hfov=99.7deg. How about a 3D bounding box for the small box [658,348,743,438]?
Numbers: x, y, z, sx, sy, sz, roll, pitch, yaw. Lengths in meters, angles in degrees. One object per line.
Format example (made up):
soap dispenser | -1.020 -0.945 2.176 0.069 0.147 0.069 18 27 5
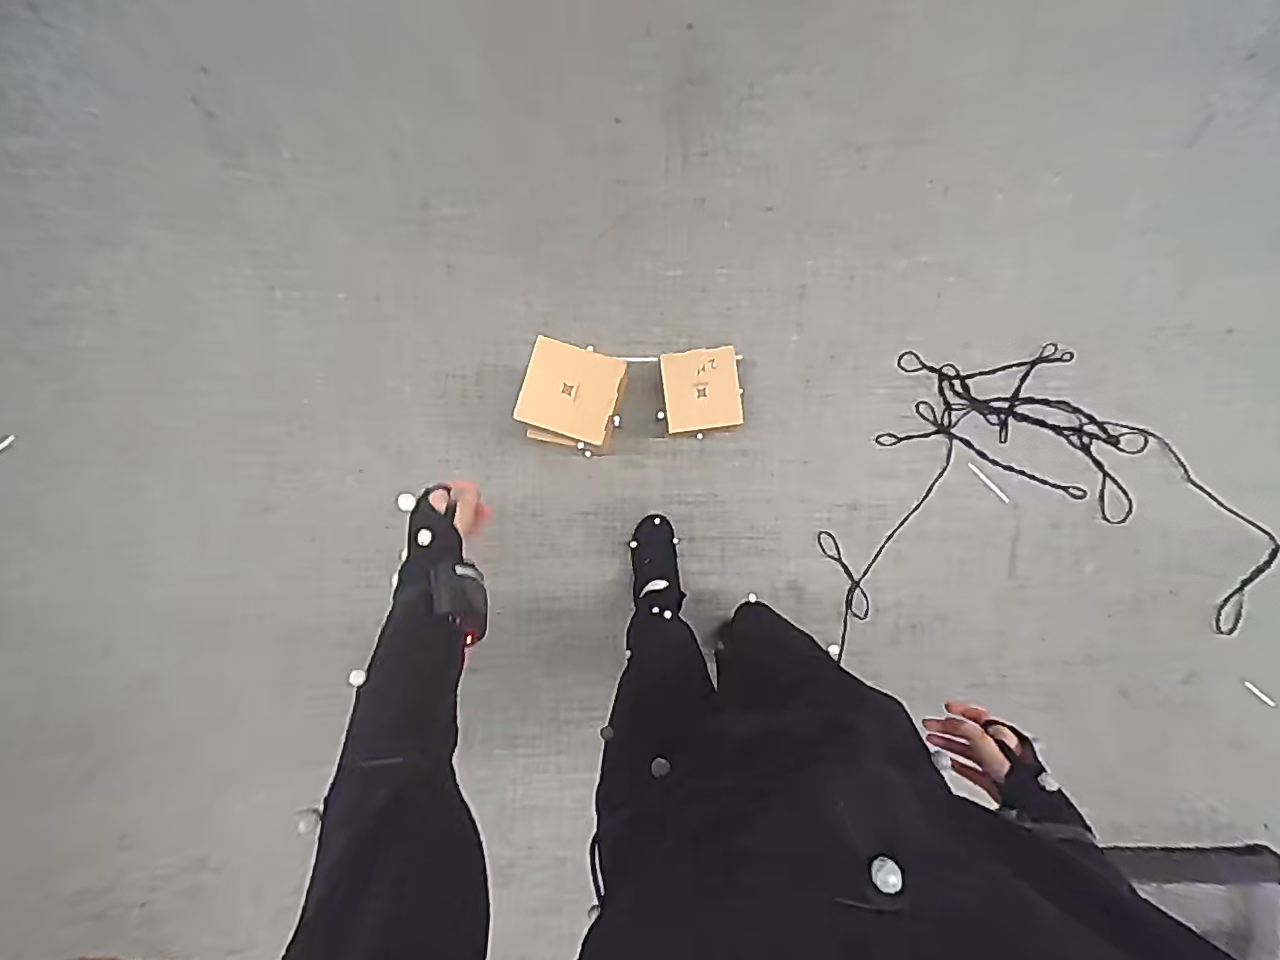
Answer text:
small box | 0.134 -0.193 1.252 0.168 0.176 0.179 -7 90 -1

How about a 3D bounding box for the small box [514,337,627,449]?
small box | -0.132 -0.165 1.088 0.179 0.176 0.168 17 89 -2
